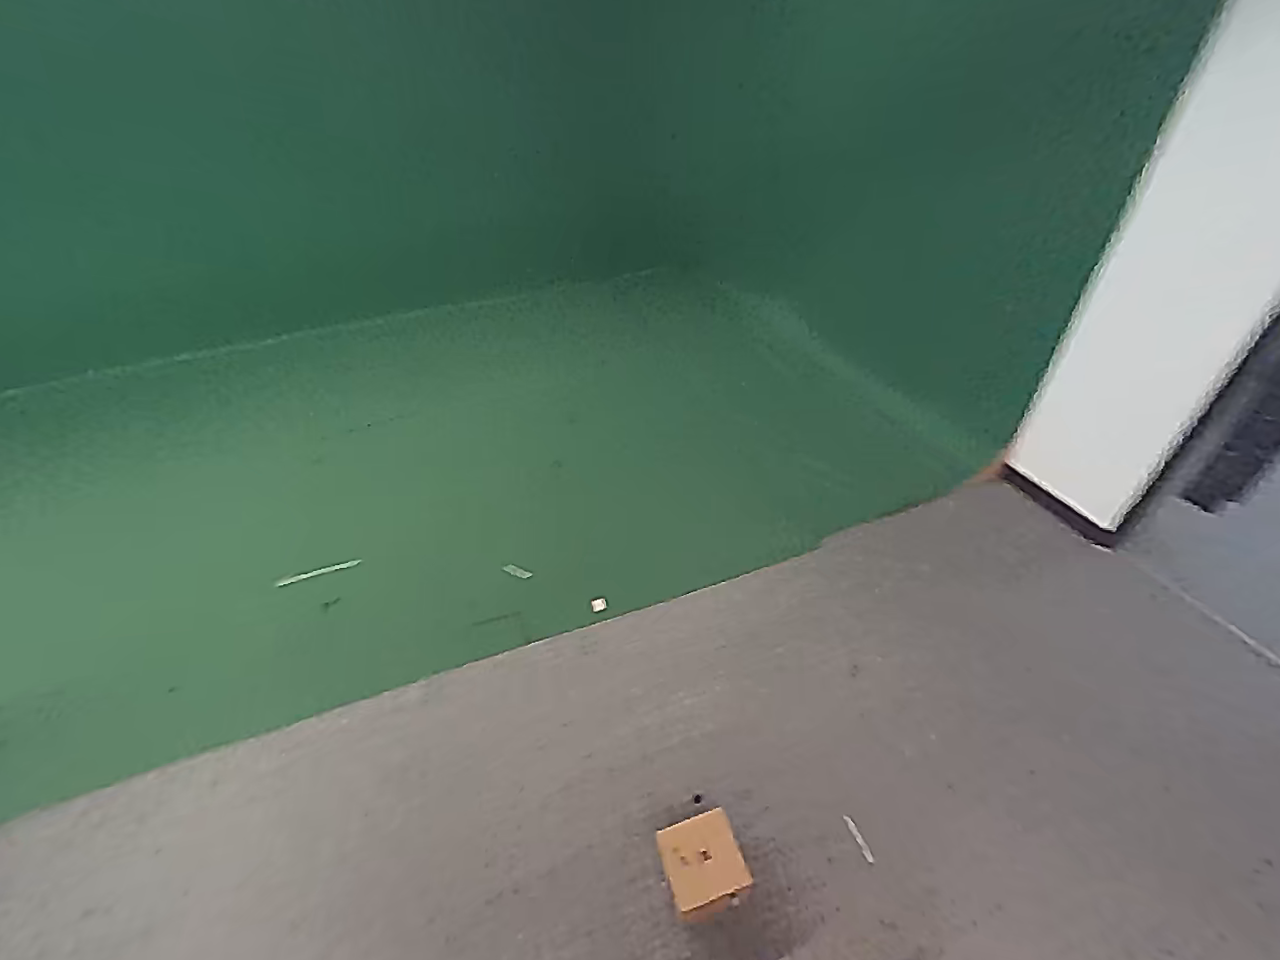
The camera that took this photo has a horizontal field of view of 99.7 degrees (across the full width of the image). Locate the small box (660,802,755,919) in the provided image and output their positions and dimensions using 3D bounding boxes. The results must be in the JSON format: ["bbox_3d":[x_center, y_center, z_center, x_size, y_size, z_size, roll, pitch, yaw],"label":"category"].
[{"bbox_3d":[0.155,0.907,1.289,0.179,0.176,0.168,-14,42,-10],"label":"small box"}]
